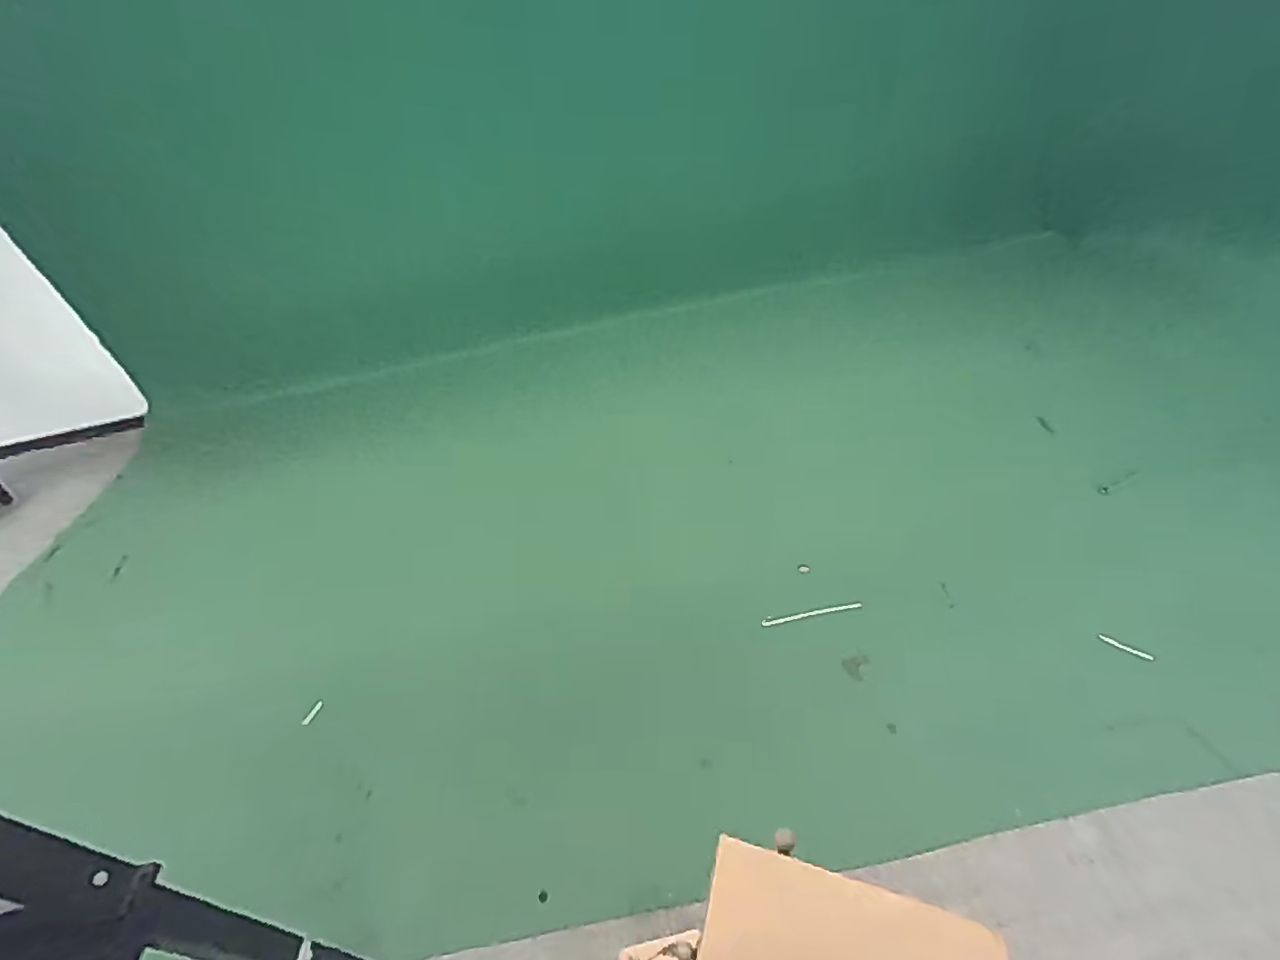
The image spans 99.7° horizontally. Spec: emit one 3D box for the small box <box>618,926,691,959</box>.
[{"bbox_3d":[0.064,0.987,1.026,0.168,0.176,0.179,-14,41,-1],"label":"small box"}]
